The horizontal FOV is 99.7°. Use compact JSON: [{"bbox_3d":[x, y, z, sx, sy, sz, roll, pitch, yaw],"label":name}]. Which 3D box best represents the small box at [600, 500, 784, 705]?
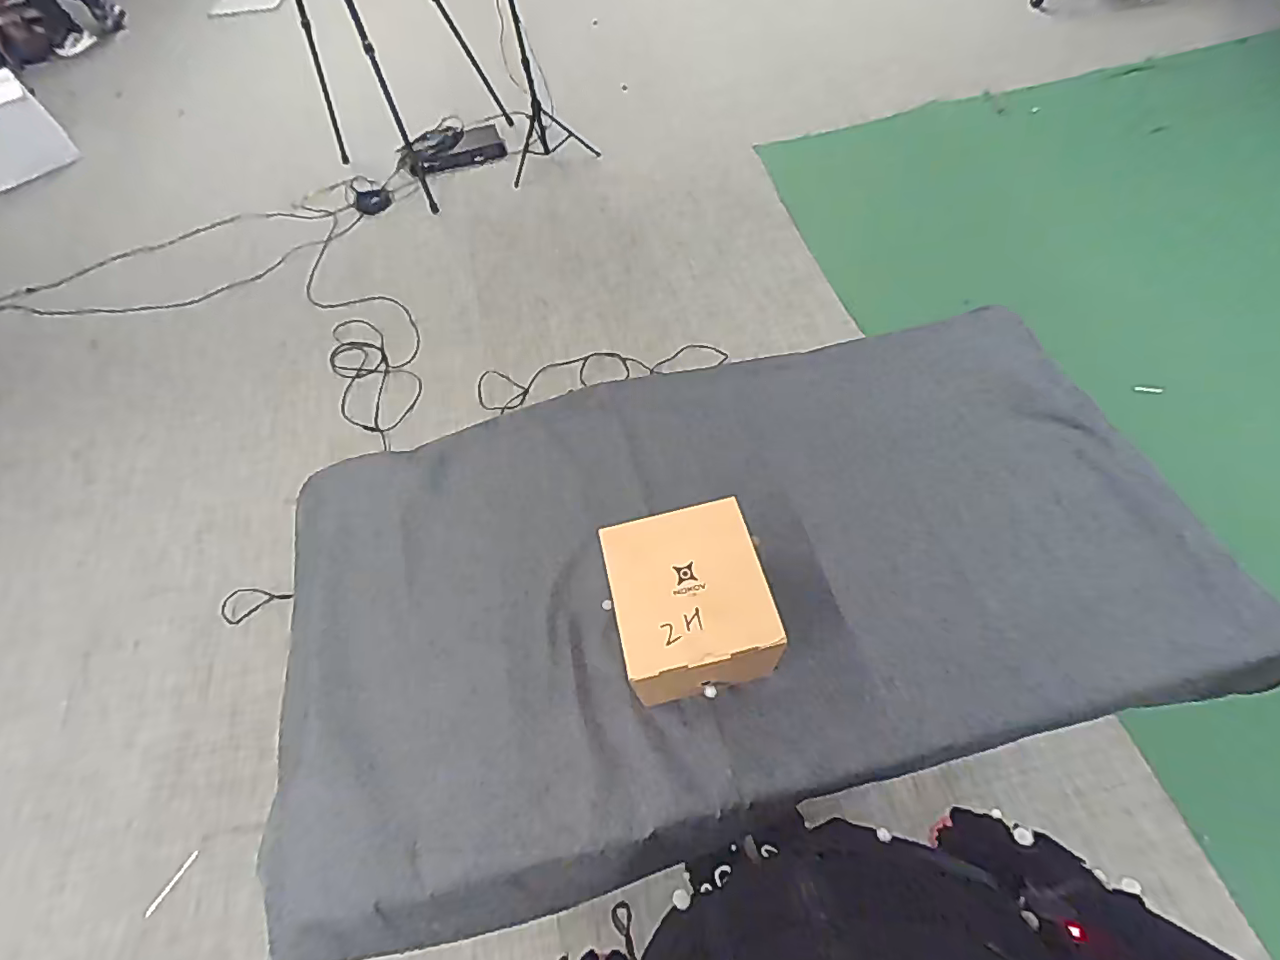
[{"bbox_3d":[0.056,0.152,0.650,0.168,0.176,0.179,-14,59,-1],"label":"small box"}]
